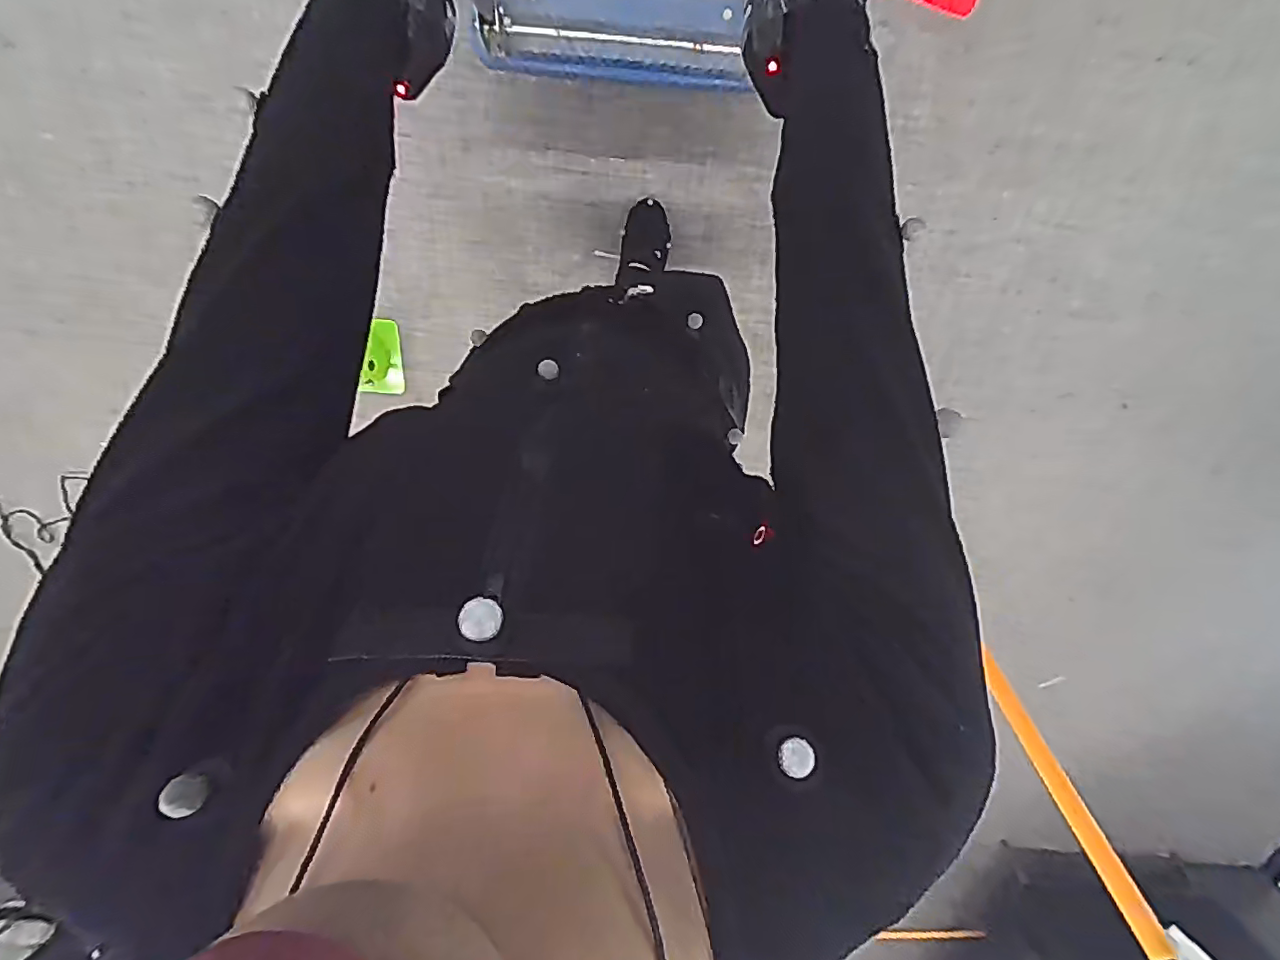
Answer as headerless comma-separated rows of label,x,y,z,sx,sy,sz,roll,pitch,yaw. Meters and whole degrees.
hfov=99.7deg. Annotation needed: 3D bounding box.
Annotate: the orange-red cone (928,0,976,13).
orange-red cone,0.612,-0.984,0.908,0.198,0.360,0.199,15,117,-7
